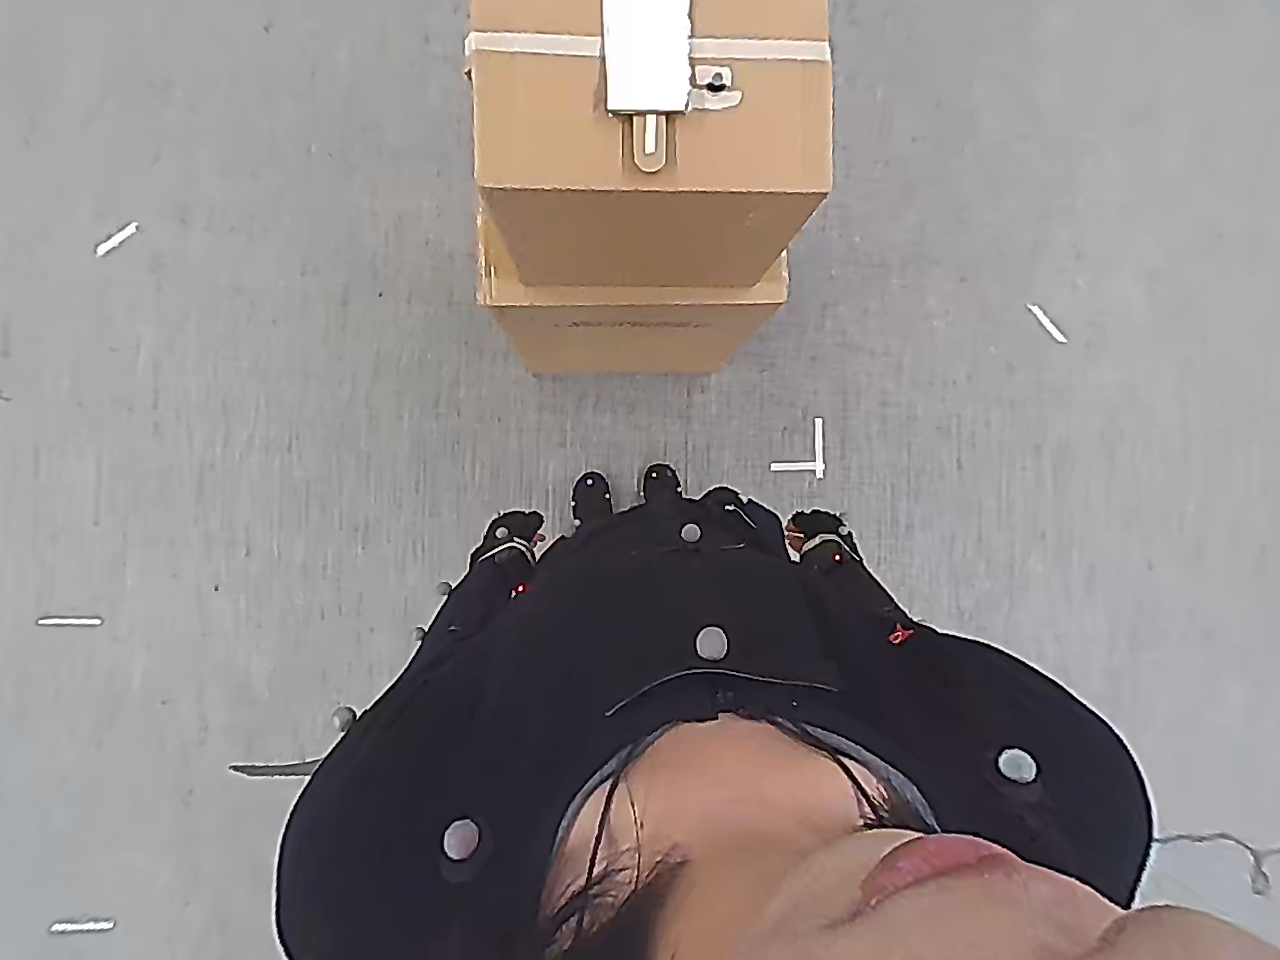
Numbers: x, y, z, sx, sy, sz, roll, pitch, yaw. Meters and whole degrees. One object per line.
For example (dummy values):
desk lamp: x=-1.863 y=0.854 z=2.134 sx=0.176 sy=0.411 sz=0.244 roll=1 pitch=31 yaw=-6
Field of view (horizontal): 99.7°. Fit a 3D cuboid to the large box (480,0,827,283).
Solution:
large box: x=0.006 y=-0.491 z=0.772 sx=0.408 sy=0.320 sz=0.320 roll=-2 pitch=91 yaw=-5
